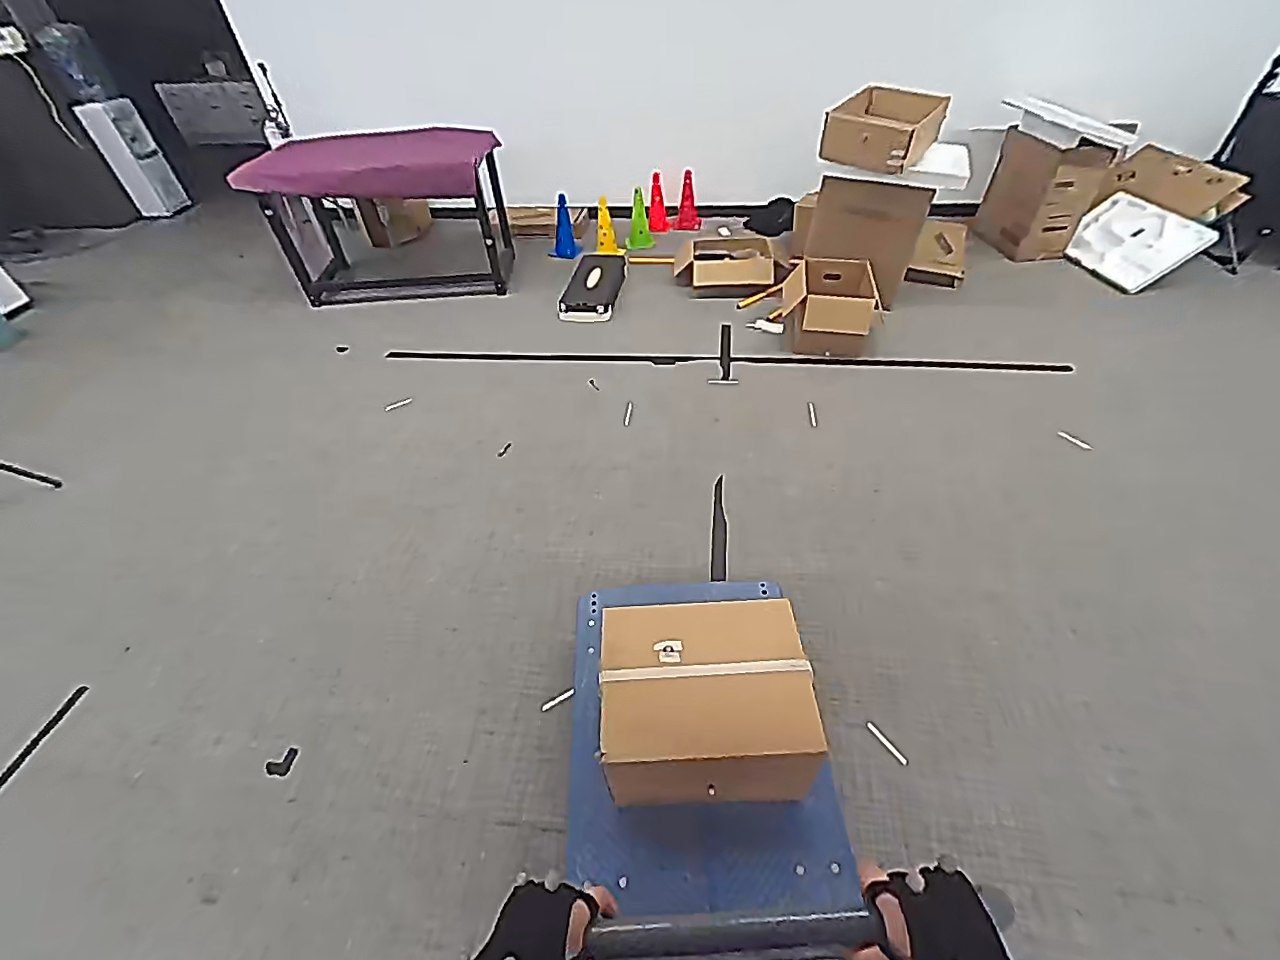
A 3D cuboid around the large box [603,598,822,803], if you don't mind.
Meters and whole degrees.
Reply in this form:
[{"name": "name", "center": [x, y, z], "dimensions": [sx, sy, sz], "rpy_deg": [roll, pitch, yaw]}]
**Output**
[{"name": "large box", "center": [0.137, 0.487, 1.187], "dimensions": [0.408, 0.320, 0.320], "rpy_deg": [-5, 45, 1]}]
